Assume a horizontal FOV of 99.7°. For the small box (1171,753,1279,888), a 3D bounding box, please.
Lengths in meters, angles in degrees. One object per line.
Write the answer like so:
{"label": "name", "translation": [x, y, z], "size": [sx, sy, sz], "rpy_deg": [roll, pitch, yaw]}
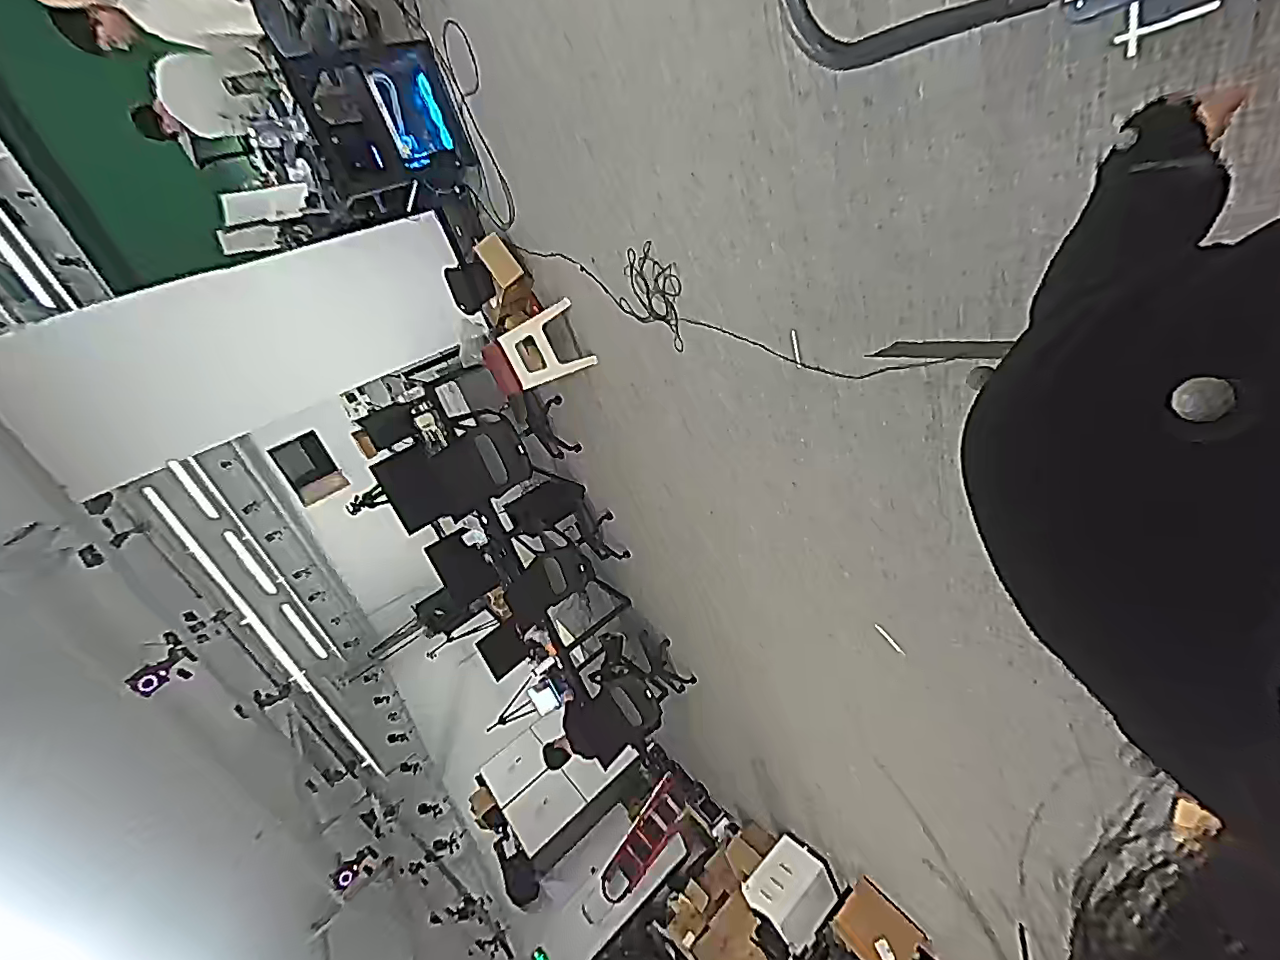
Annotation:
{"label": "small box", "translation": [1.425, 0.808, 1.298], "size": [0.168, 0.176, 0.179], "rpy_deg": [18, 135, 51]}
